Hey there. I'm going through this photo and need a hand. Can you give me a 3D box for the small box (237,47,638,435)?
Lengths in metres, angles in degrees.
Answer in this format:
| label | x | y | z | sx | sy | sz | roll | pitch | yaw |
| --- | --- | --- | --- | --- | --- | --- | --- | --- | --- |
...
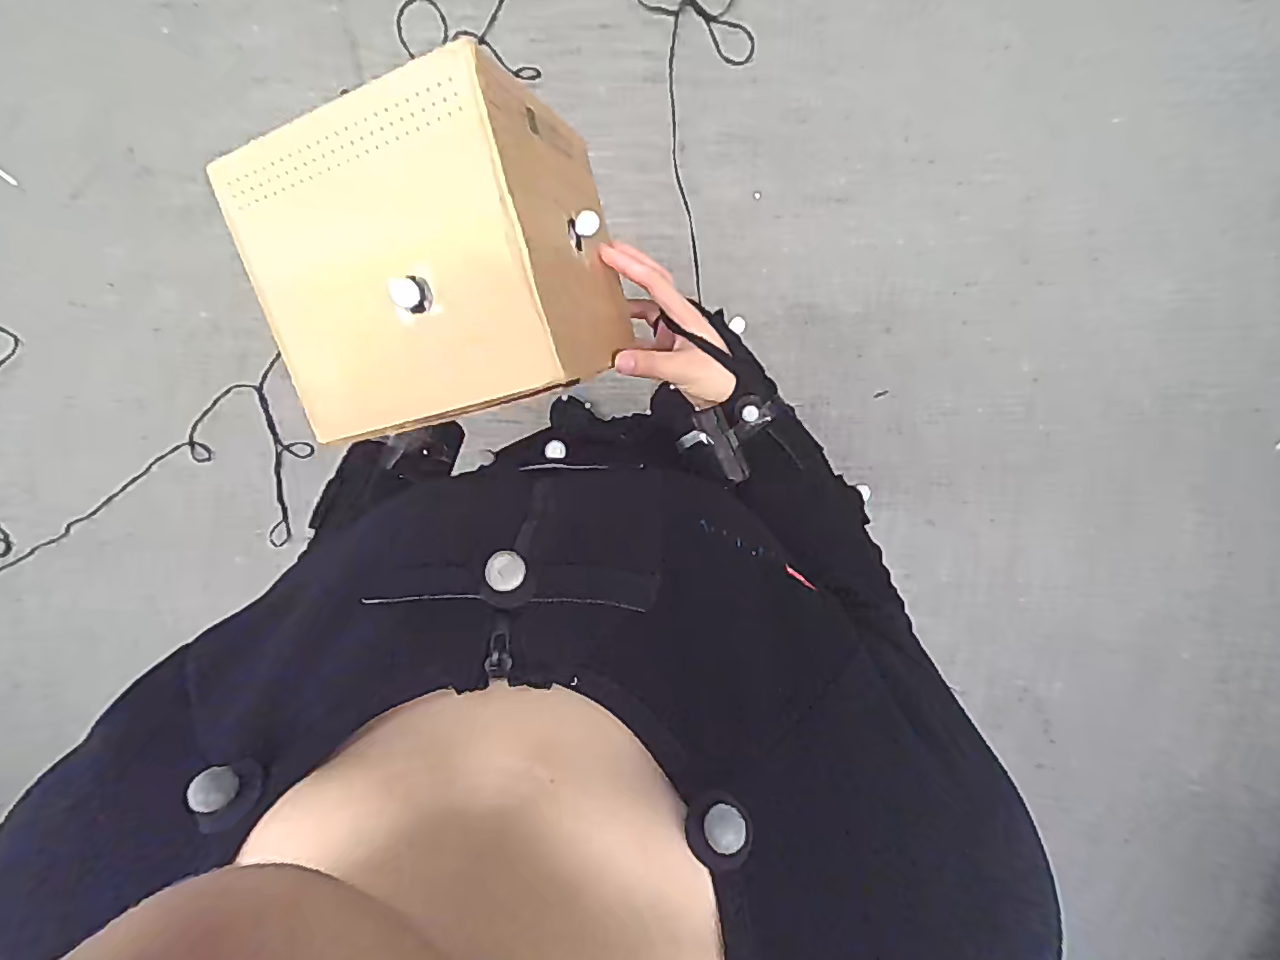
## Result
| label | x | y | z | sx | sy | sz | roll | pitch | yaw |
| --- | --- | --- | --- | --- | --- | --- | --- | --- | --- |
| small box | -0.122 | -0.146 | 0.373 | 0.179 | 0.168 | 0.176 | -12 | 103 | 17 |
